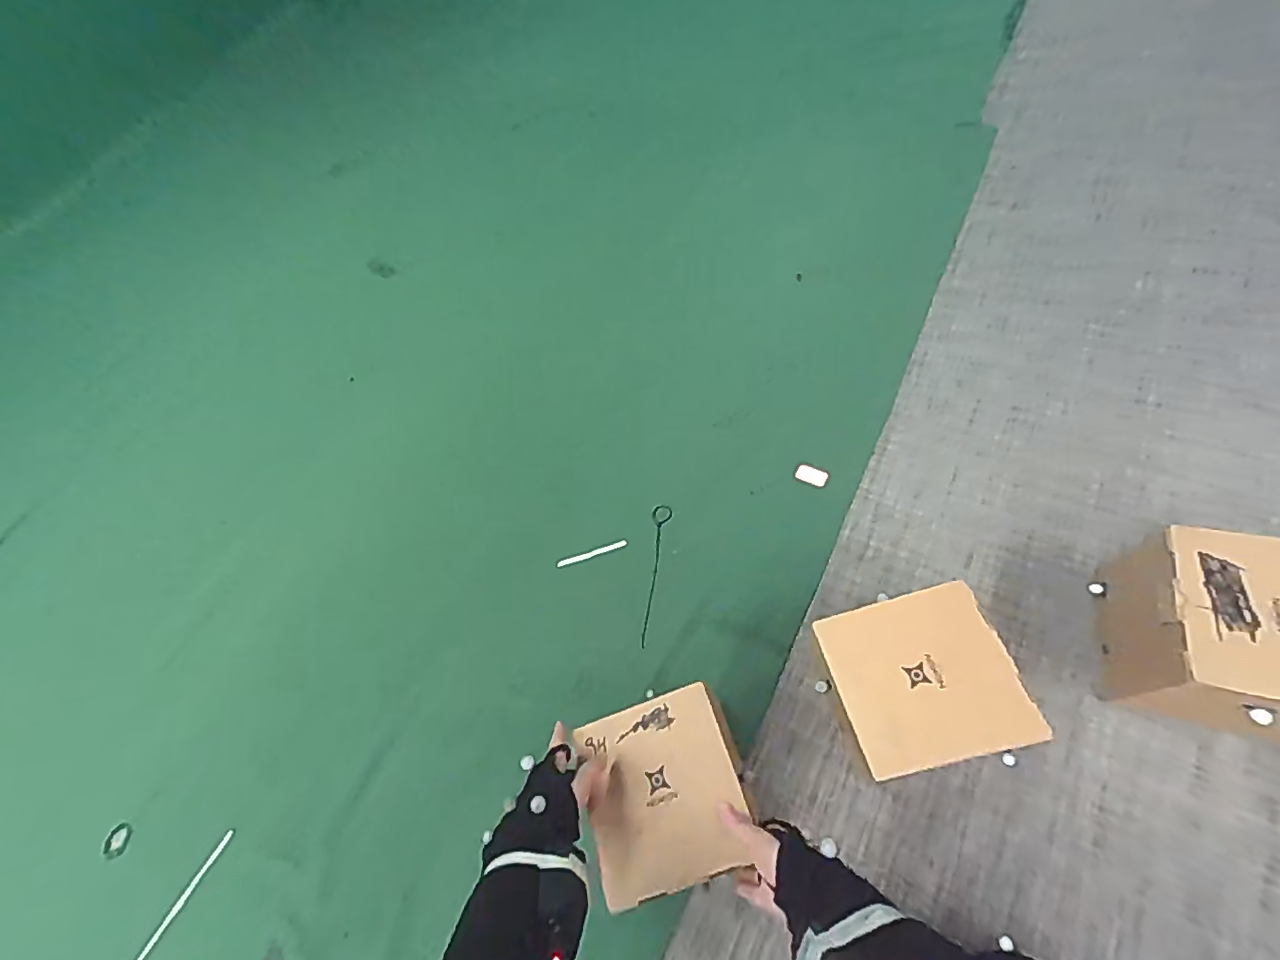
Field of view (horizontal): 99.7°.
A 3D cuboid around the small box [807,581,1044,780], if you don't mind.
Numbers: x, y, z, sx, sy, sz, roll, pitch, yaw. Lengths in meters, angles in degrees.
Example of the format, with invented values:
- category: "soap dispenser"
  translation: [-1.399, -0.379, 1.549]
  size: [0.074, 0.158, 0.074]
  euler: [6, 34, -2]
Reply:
- category: "small box"
  translation: [0.308, 0.241, 0.631]
  size: [0.179, 0.176, 0.168]
  euler: [-18, 59, 5]

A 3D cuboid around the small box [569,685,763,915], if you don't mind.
- category: "small box"
  translation: [0.037, 0.363, 0.635]
  size: [0.168, 0.176, 0.179]
  euler: [-22, 59, 3]
